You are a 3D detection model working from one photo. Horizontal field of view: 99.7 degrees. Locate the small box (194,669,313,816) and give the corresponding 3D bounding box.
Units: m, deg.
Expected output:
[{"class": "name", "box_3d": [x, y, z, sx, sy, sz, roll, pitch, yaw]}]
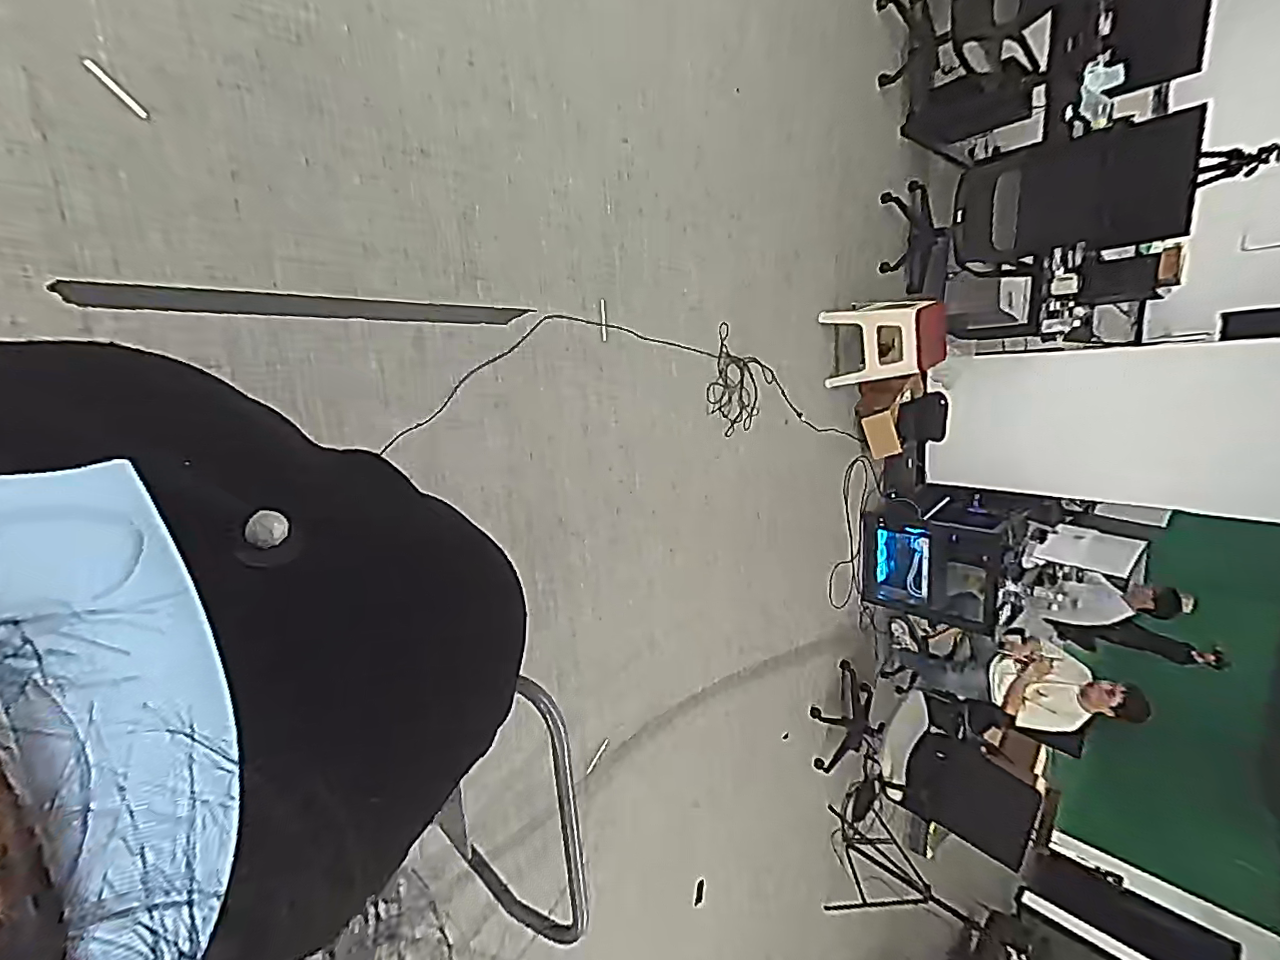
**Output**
[{"class": "small box", "box_3d": [-0.767, 0.507, 1.073, 0.168, 0.176, 0.179, -10, 102, -42]}]
